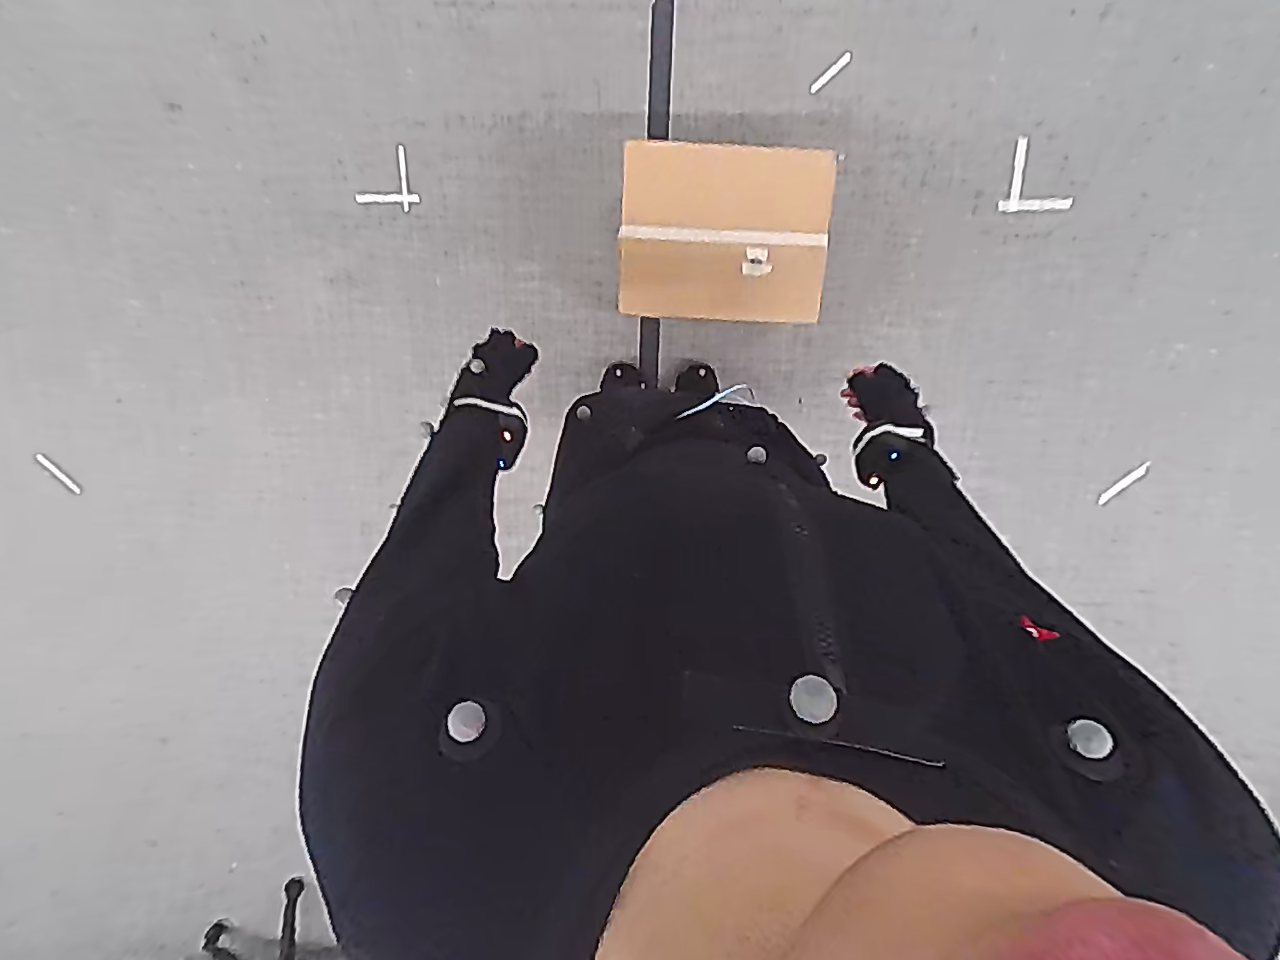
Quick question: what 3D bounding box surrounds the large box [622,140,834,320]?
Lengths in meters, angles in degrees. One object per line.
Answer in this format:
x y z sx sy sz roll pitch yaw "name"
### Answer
0.163 -0.526 1.208 0.408 0.320 0.320 3 107 -2 "large box"
